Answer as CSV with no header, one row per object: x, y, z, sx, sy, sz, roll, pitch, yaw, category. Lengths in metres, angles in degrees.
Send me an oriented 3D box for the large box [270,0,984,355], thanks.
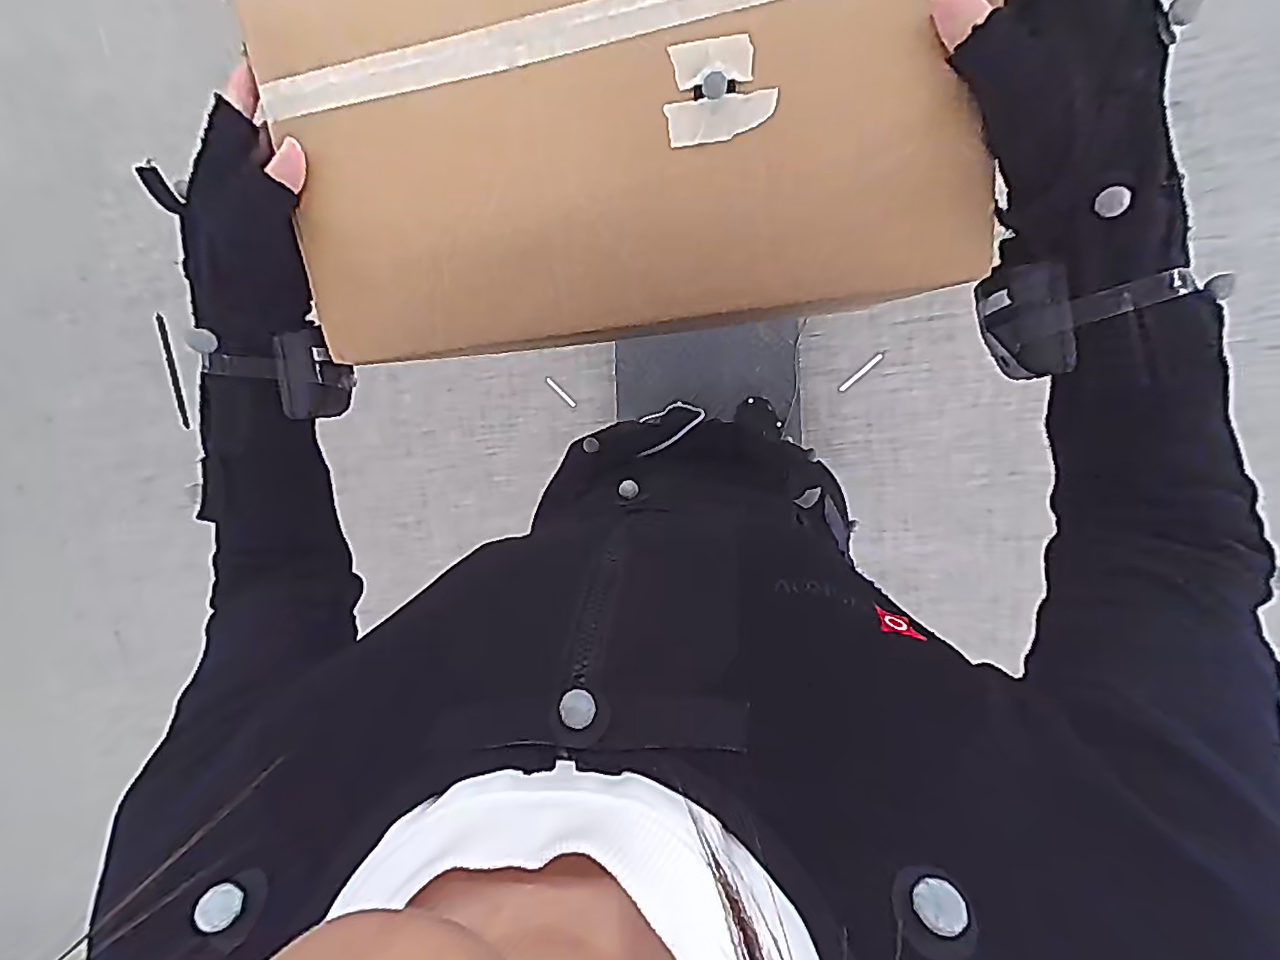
-0.002,-0.289,0.446,0.408,0.320,0.320,-5,104,10,large box
